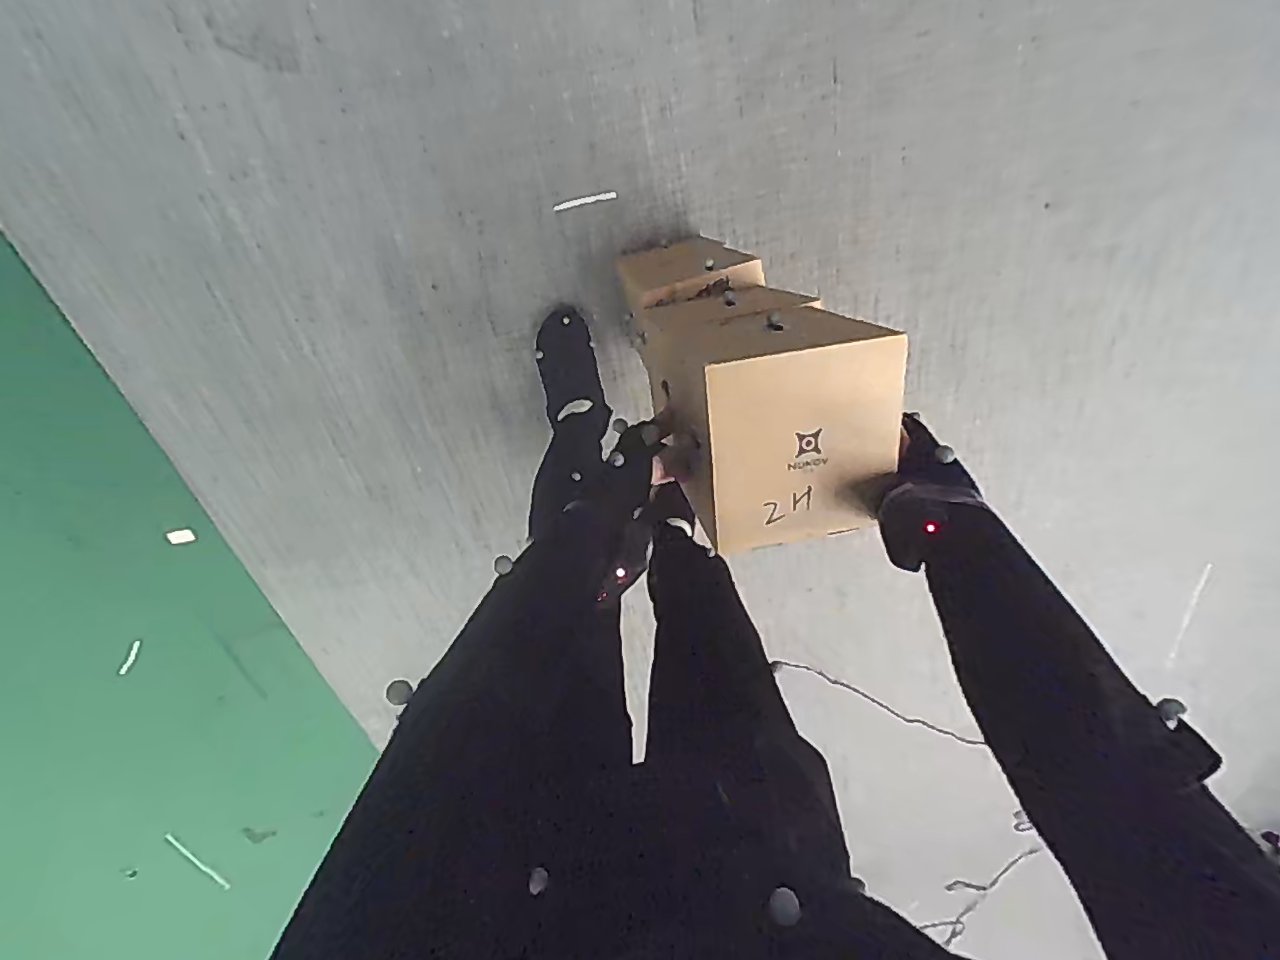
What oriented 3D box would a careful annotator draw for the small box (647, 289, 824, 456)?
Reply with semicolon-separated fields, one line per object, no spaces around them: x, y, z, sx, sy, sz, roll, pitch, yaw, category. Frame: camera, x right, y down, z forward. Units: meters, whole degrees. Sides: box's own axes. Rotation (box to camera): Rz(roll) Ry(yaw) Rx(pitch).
0.108;-0.132;0.665;0.179;0.176;0.168;-12;115;-4;small box

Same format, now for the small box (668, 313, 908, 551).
0.126;-0.059;0.517;0.168;0.176;0.179;-9;115;-4;small box

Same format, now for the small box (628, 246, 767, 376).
0.088;-0.231;0.805;0.168;0.176;0.179;-16;120;-1;small box
